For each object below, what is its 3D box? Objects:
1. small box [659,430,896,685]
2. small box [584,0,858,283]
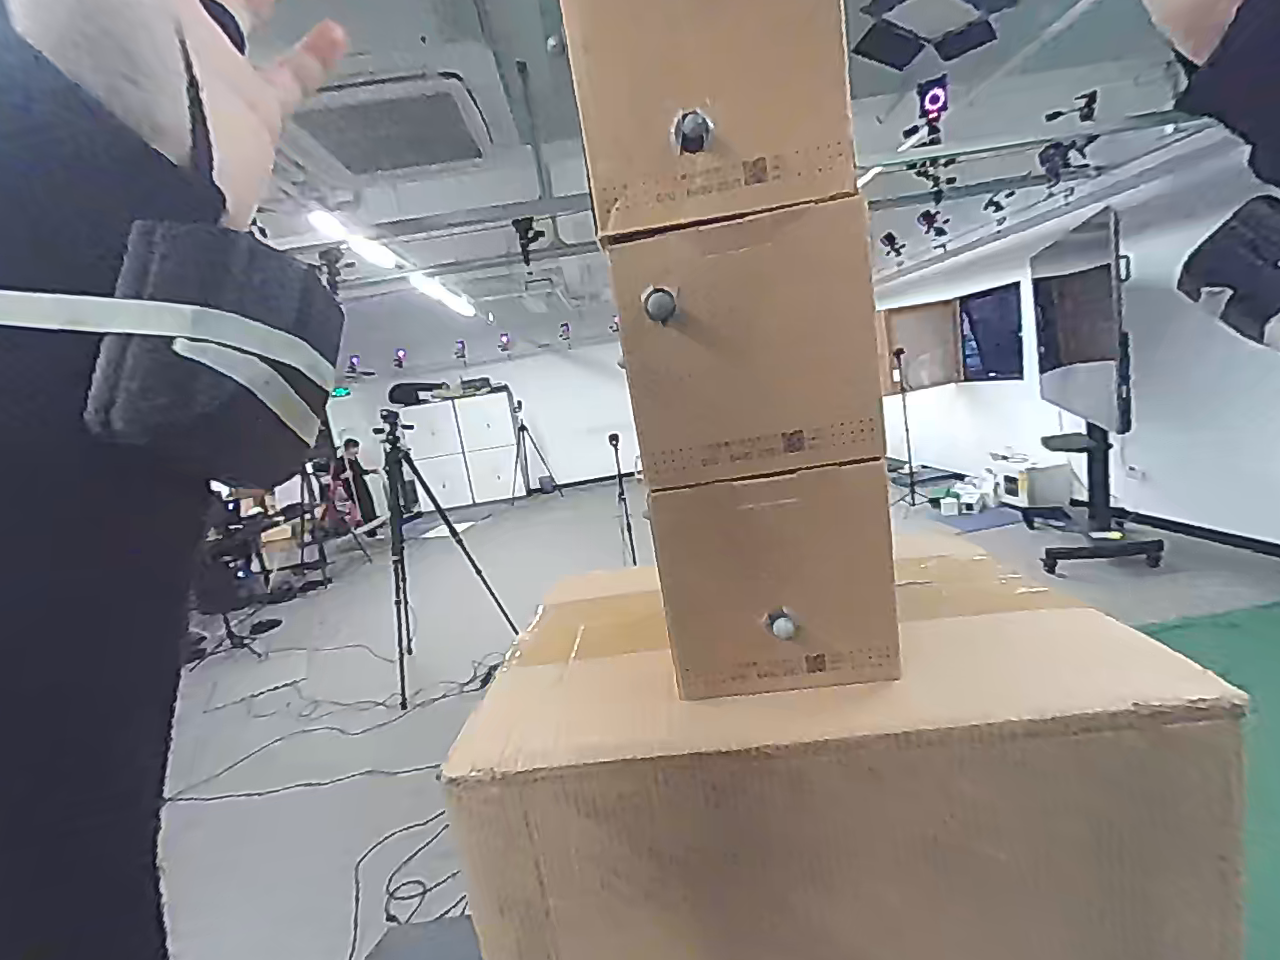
[{"bbox_3d":[0.112,0.057,0.482,0.168,0.176,0.179,-8,12,6],"label":"small box"},{"bbox_3d":[0.057,-0.259,0.421,0.168,0.176,0.179,-8,12,3],"label":"small box"}]
